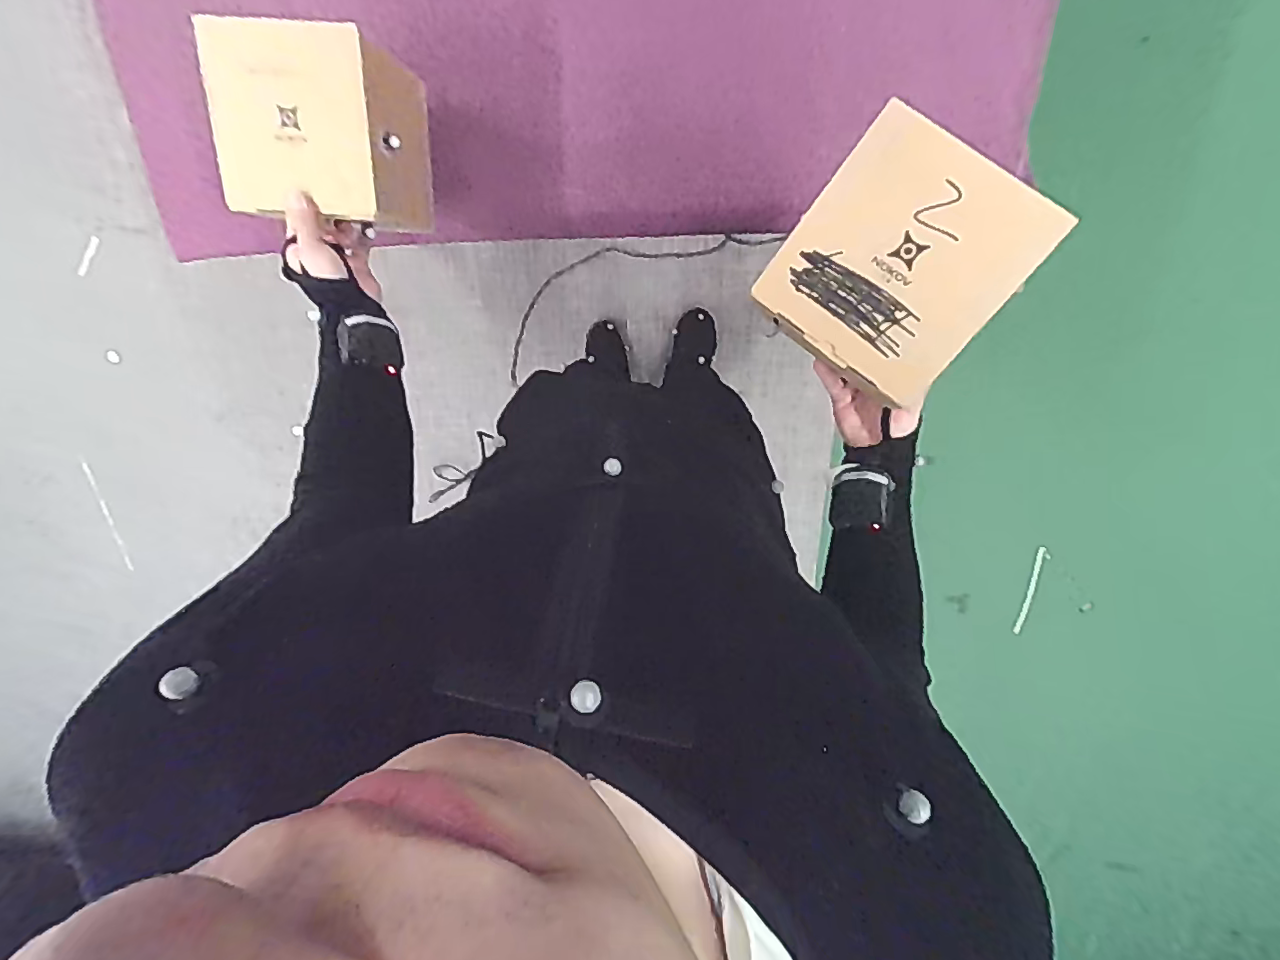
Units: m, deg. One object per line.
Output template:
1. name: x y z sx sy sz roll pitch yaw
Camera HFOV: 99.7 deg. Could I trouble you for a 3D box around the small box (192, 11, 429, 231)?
1. small box: -0.358 -0.395 0.629 0.168 0.176 0.179 5 110 0
